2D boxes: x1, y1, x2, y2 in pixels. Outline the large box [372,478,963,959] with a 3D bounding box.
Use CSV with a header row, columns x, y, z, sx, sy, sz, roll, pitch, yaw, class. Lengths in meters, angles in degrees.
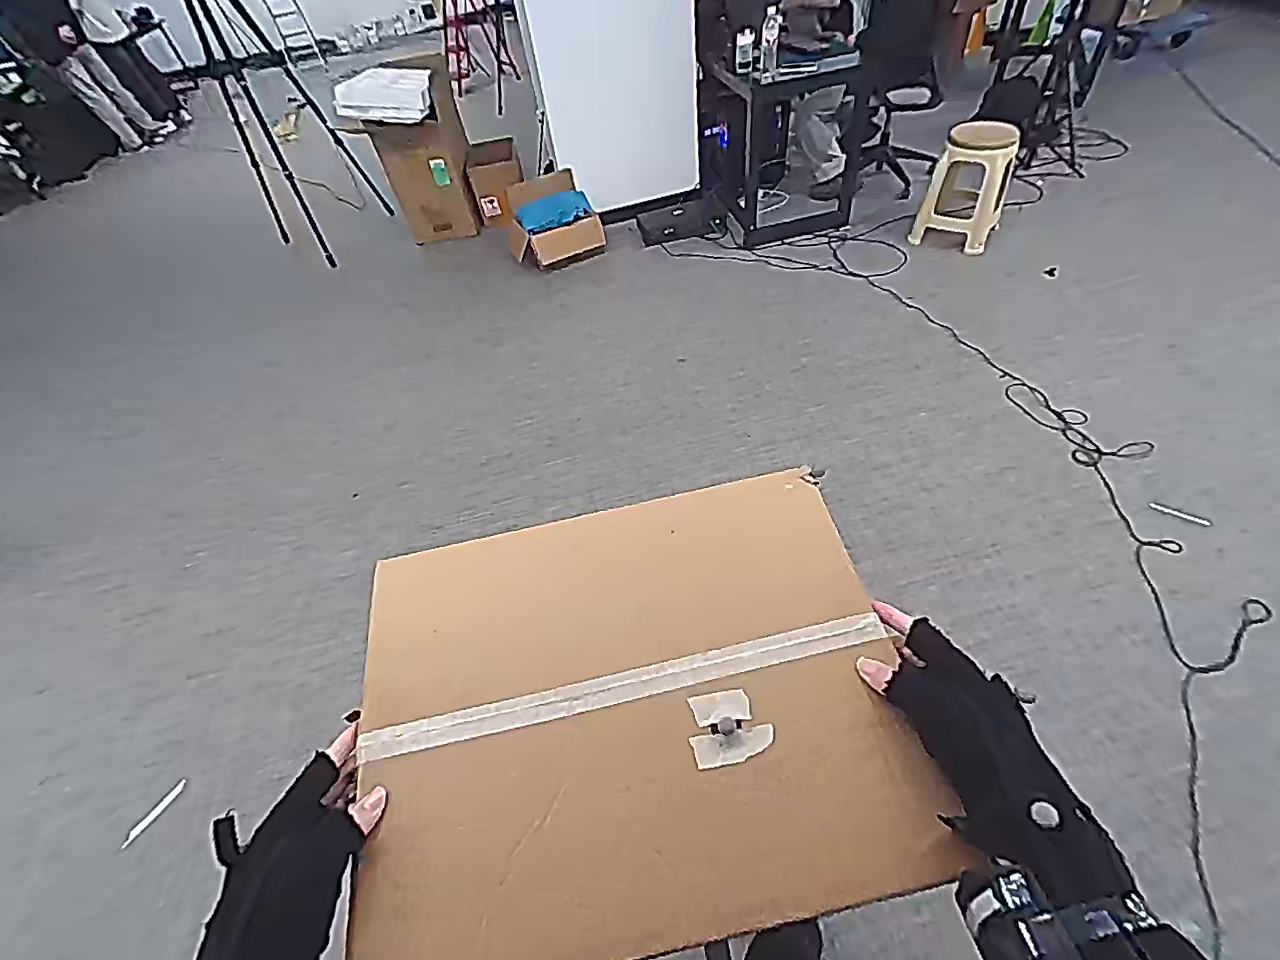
x,y,z,sx,sy,sz,roll,pitch,yaw,class
0.005,0.246,0.552,0.408,0.320,0.320,-13,57,-2,large box
